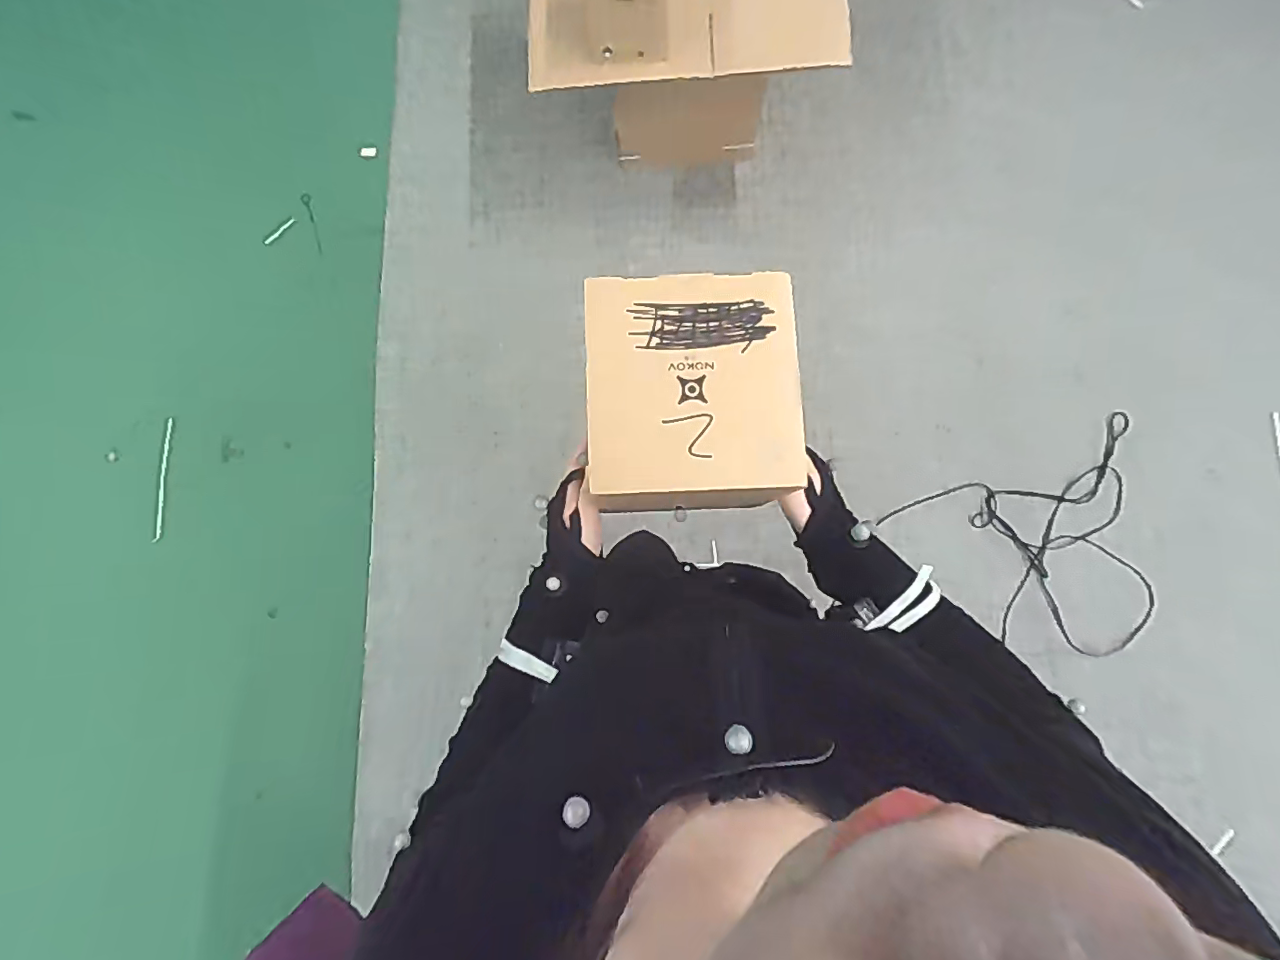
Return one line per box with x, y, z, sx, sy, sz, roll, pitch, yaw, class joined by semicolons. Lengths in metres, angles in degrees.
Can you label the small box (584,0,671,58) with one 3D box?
-0.021;-1.007;1.108;0.168;0.176;0.179;0;82;4;small box
